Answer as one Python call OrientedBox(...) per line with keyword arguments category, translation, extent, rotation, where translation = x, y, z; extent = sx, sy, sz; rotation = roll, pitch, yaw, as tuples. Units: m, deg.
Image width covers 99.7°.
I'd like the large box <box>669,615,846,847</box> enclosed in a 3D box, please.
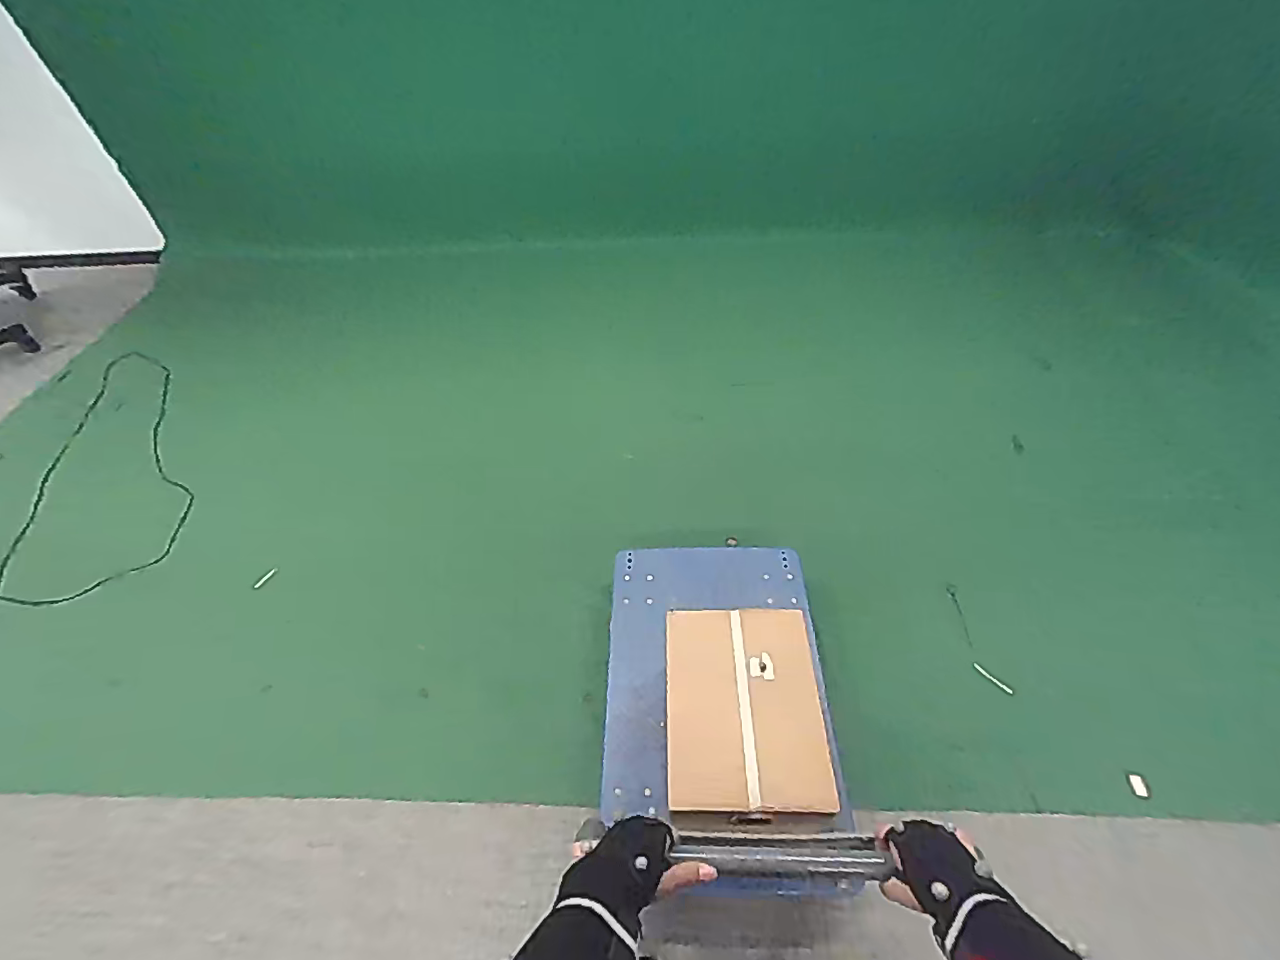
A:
OrientedBox(category="large box", translation=(0.225, 0.557, 1.205), extent=(0.320, 0.320, 0.408), rotation=(0, 47, 3))
